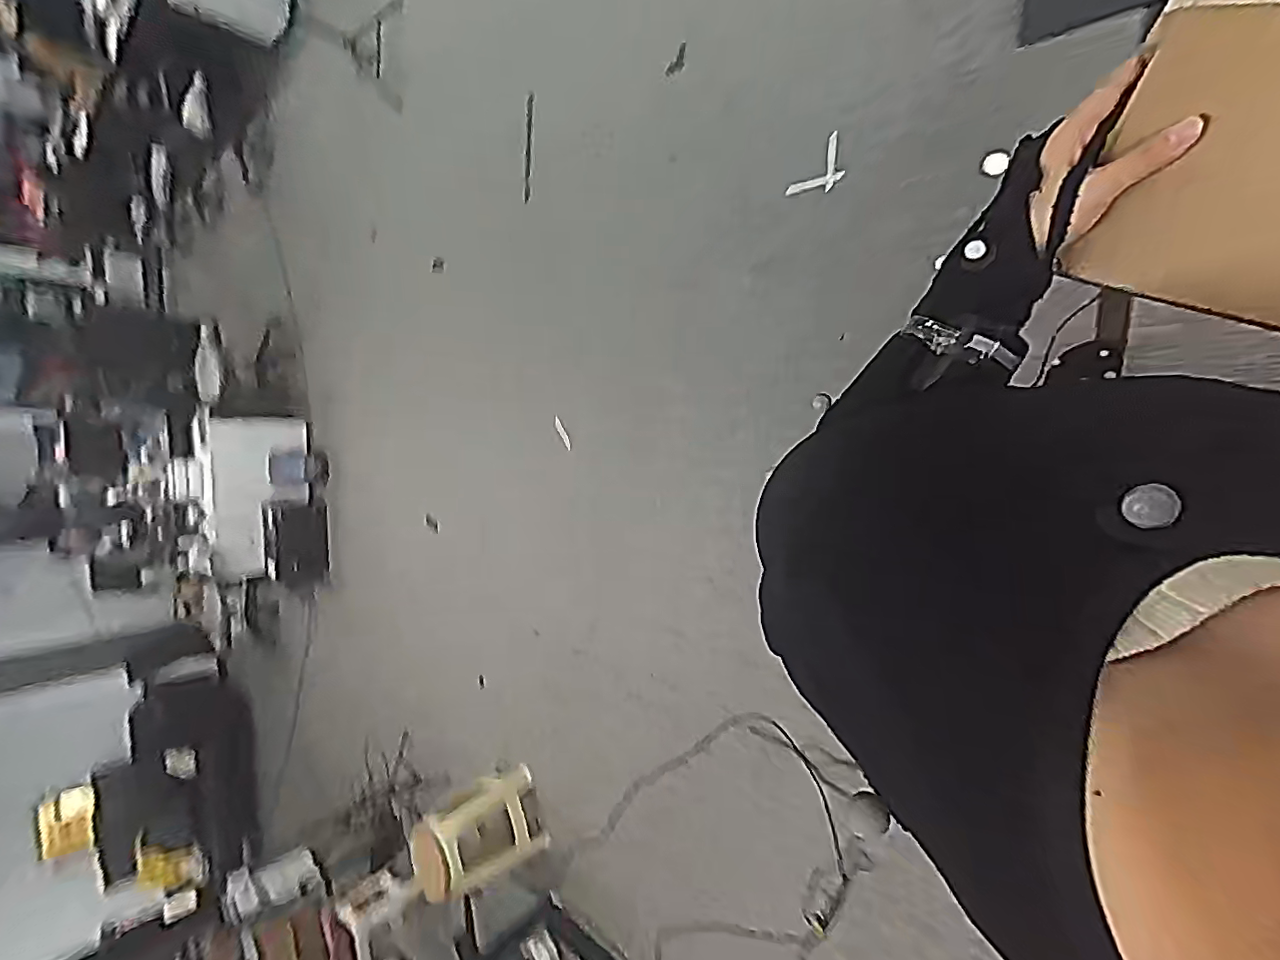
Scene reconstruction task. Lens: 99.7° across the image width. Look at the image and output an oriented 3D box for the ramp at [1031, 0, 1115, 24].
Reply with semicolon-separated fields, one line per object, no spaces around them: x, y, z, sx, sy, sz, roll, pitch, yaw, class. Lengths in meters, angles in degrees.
0.946;-1.375;0.818;0.509;0.206;0.991;7;99;39;ramp
